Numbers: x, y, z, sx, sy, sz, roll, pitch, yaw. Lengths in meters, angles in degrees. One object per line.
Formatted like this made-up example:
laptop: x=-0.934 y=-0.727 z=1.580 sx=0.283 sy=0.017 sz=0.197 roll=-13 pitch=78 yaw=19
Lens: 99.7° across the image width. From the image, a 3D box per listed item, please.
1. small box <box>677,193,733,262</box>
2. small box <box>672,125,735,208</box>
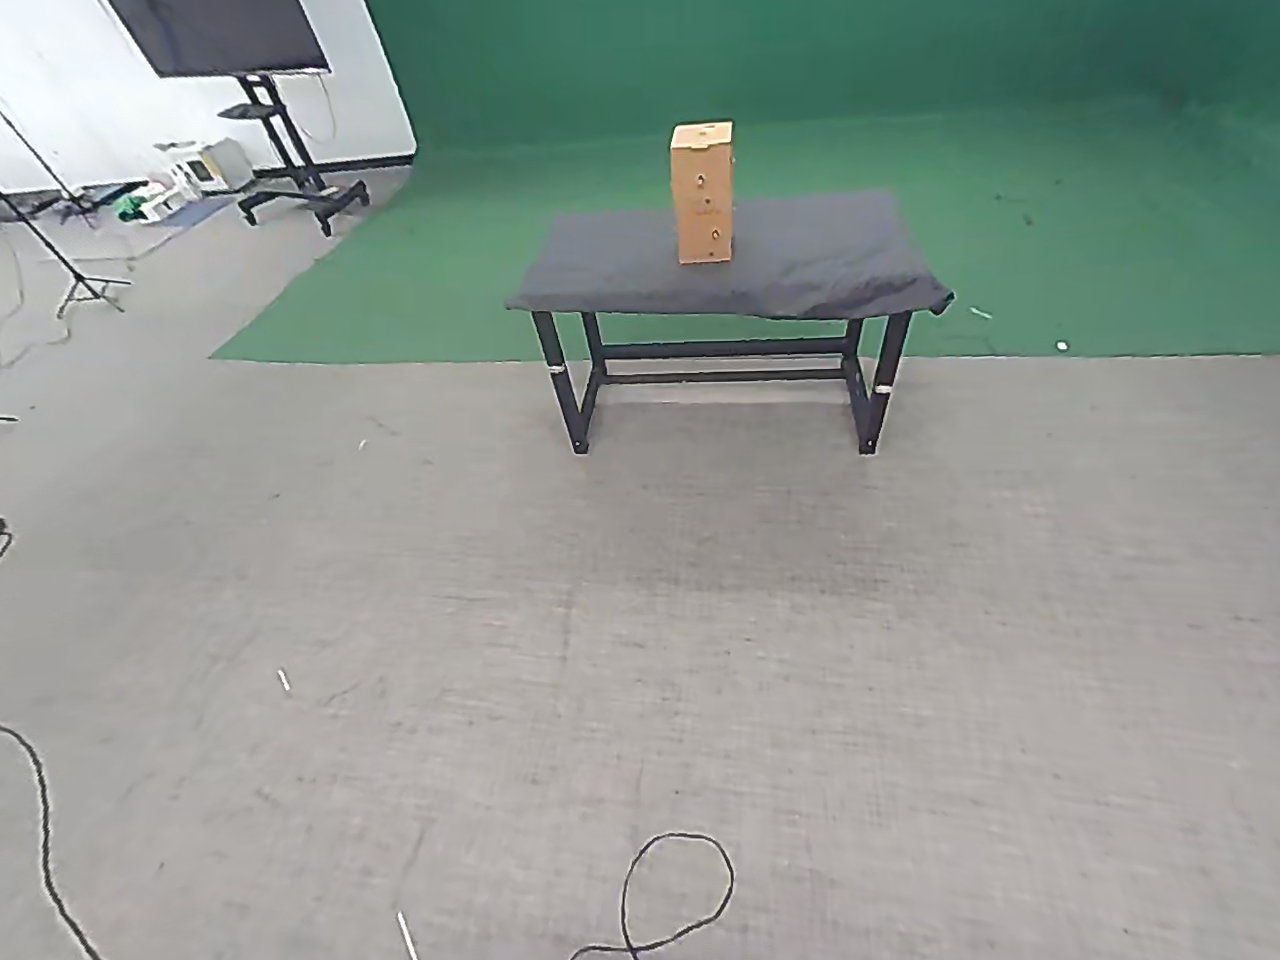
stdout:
small box: x=0.209 y=-0.800 z=1.701 sx=0.168 sy=0.176 sz=0.179 roll=1 pitch=48 yaw=8
small box: x=0.190 y=-0.912 z=1.583 sx=0.168 sy=0.176 sz=0.179 roll=3 pitch=50 yaw=9
